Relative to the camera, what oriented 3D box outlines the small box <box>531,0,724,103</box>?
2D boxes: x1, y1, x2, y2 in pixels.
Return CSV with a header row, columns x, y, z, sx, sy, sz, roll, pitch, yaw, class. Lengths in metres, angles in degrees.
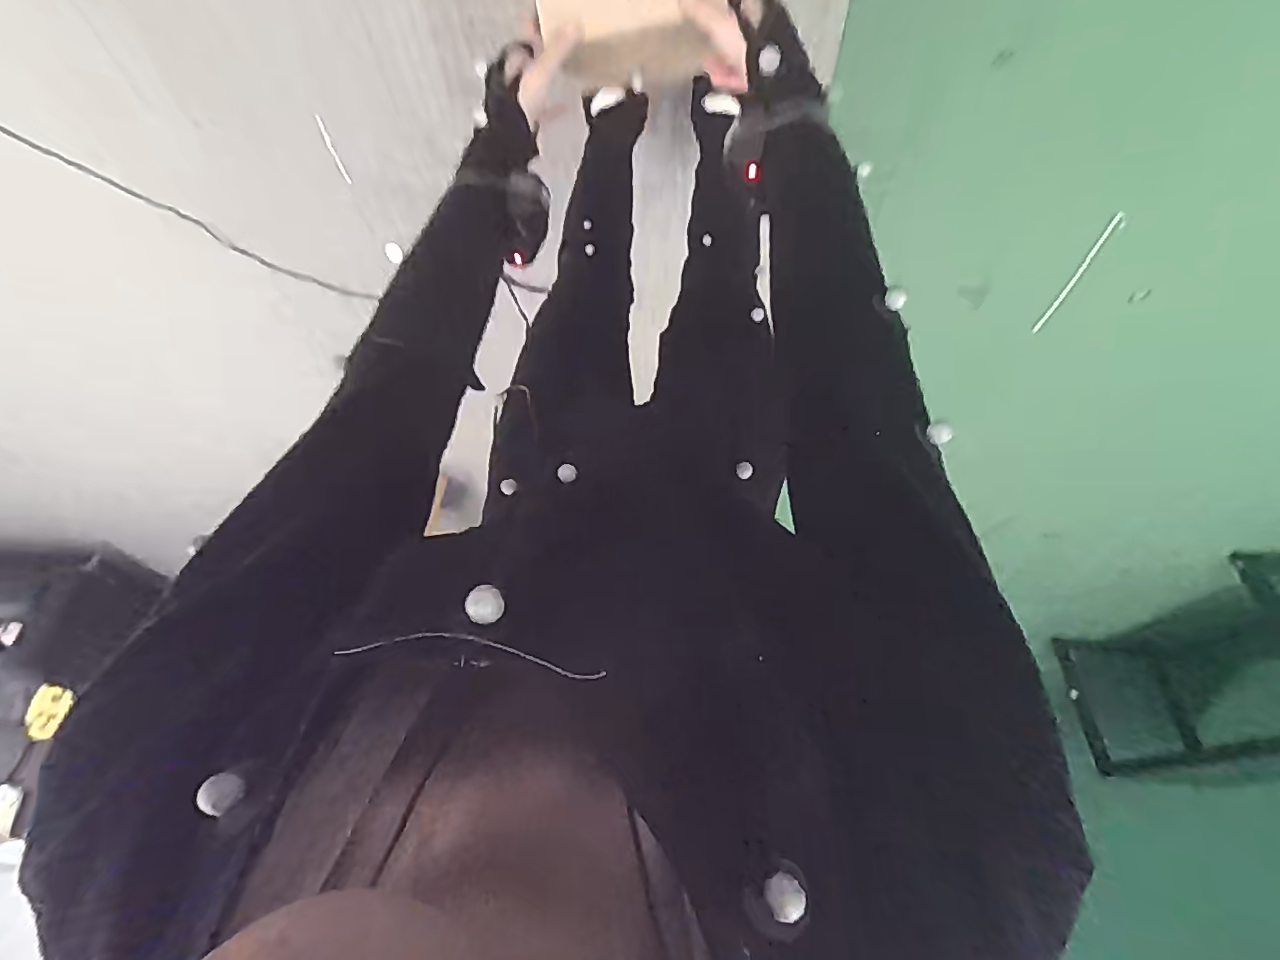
x,y,z,sx,sy,sz,roll,pitch,yaw,class
-0.014,-0.491,0.511,0.168,0.176,0.179,-6,113,7,small box
